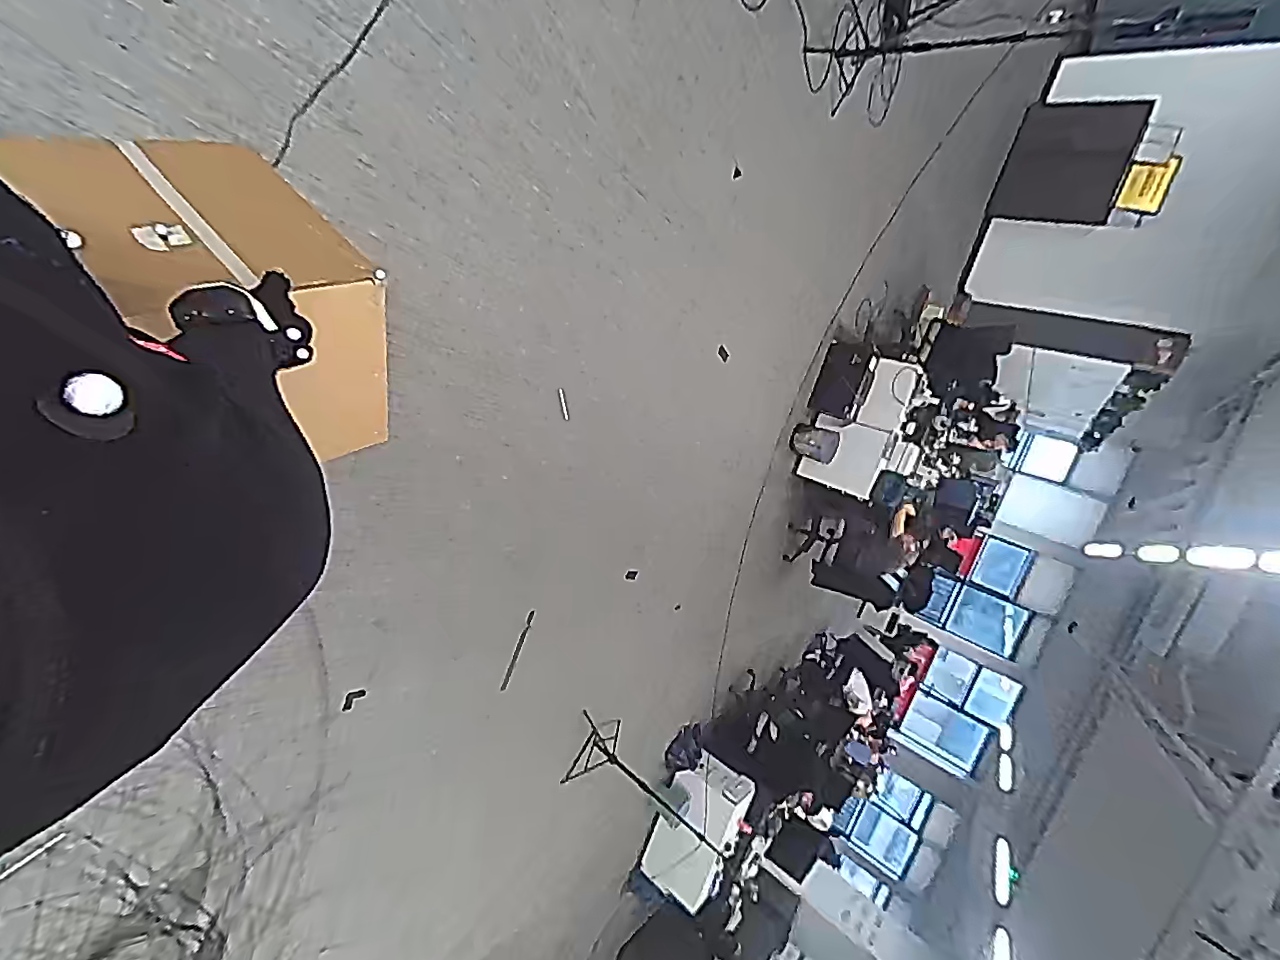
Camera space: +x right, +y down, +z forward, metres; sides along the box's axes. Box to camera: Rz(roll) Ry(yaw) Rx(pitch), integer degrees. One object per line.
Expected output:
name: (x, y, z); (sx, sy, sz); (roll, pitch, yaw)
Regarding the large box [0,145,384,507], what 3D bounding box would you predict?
large box: (-0.638, -0.239, 0.807); (0.320, 0.408, 0.320); (-32, 158, -40)
